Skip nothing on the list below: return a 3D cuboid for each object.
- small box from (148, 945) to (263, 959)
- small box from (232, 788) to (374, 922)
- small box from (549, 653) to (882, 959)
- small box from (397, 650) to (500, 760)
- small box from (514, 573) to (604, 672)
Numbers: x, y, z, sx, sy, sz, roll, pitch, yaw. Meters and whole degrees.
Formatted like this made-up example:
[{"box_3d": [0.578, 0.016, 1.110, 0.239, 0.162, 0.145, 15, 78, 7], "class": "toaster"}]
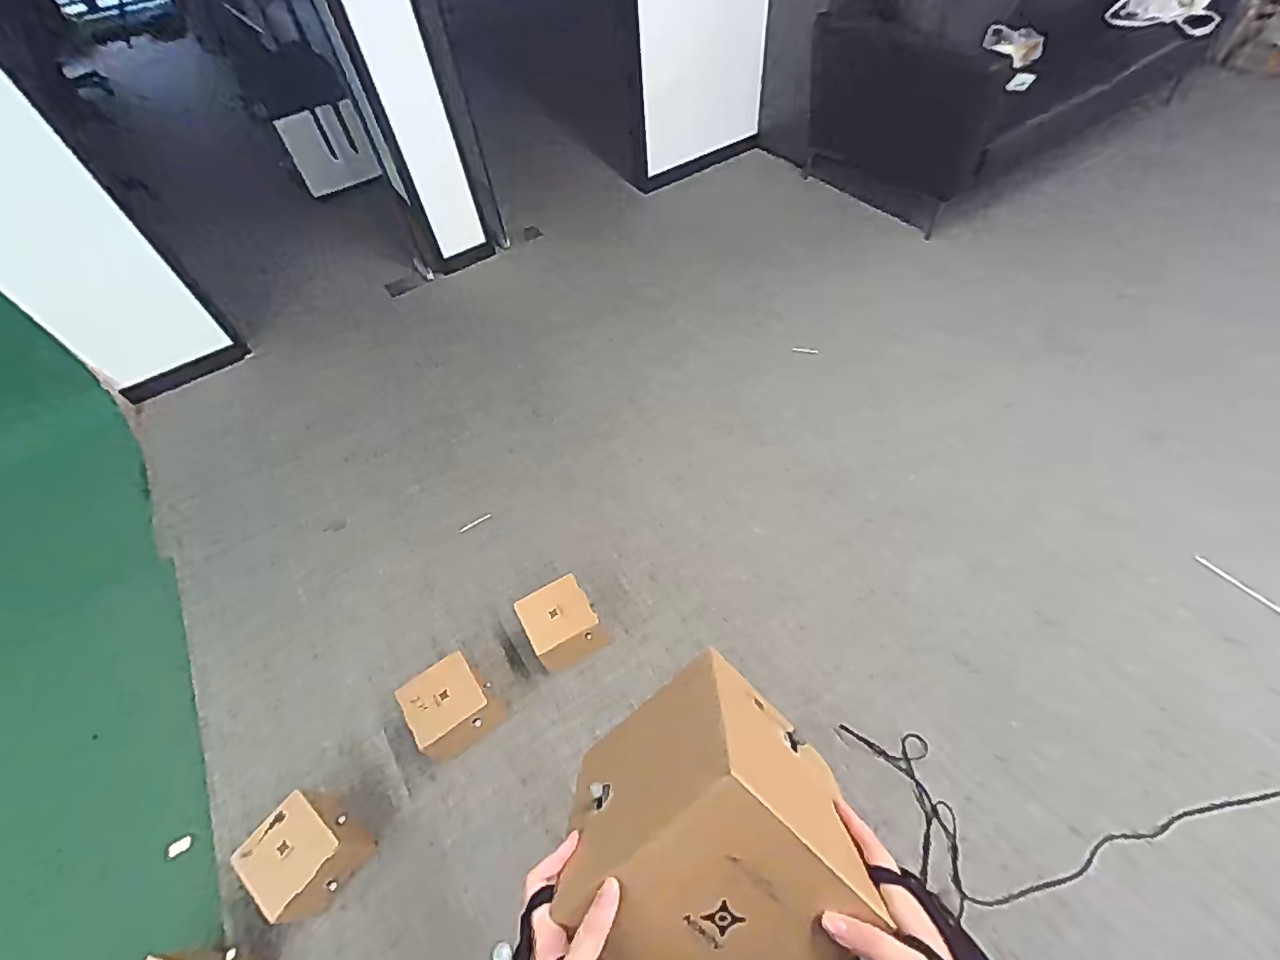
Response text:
[{"box_3d": [-0.872, 1.035, 1.043, 0.168, 0.176, 0.179, 6, 54, 11], "class": "small box"}, {"box_3d": [-0.729, 0.817, 1.190, 0.179, 0.176, 0.168, 30, 62, 24], "class": "small box"}, {"box_3d": [0.056, 0.286, 0.453, 0.179, 0.176, 0.168, -43, 97, 10], "class": "small box"}, {"box_3d": [-0.467, 0.564, 1.351, 0.179, 0.176, 0.168, -32, 56, -18], "class": "small box"}, {"box_3d": [-0.213, 0.389, 1.460, 0.179, 0.176, 0.168, -27, 56, -15], "class": "small box"}]
